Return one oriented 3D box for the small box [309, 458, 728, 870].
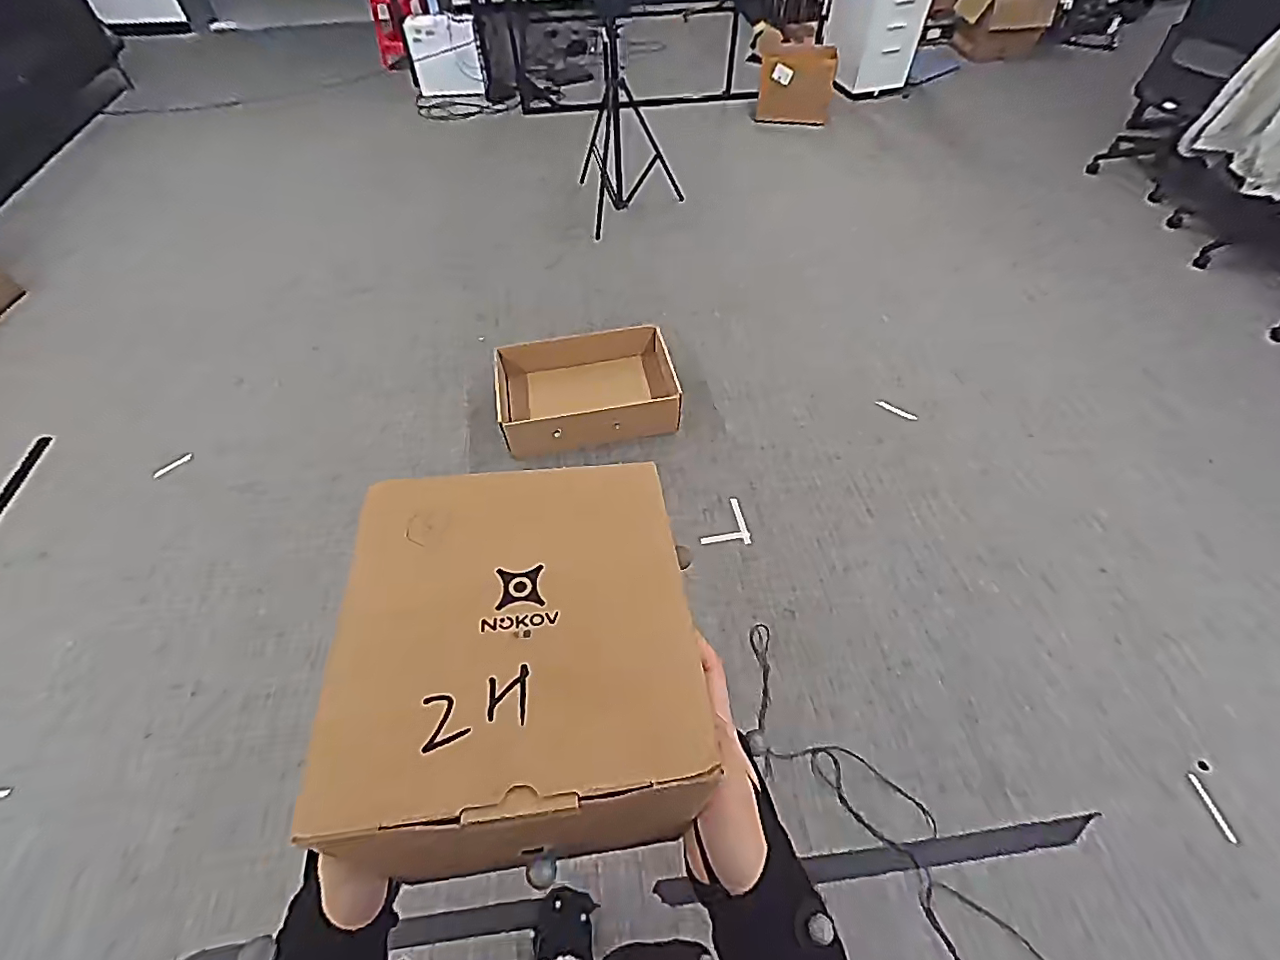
[{"bbox_3d":[-0.061,0.108,0.325,0.168,0.176,0.179,-4,50,-8],"label":"small box"}]
